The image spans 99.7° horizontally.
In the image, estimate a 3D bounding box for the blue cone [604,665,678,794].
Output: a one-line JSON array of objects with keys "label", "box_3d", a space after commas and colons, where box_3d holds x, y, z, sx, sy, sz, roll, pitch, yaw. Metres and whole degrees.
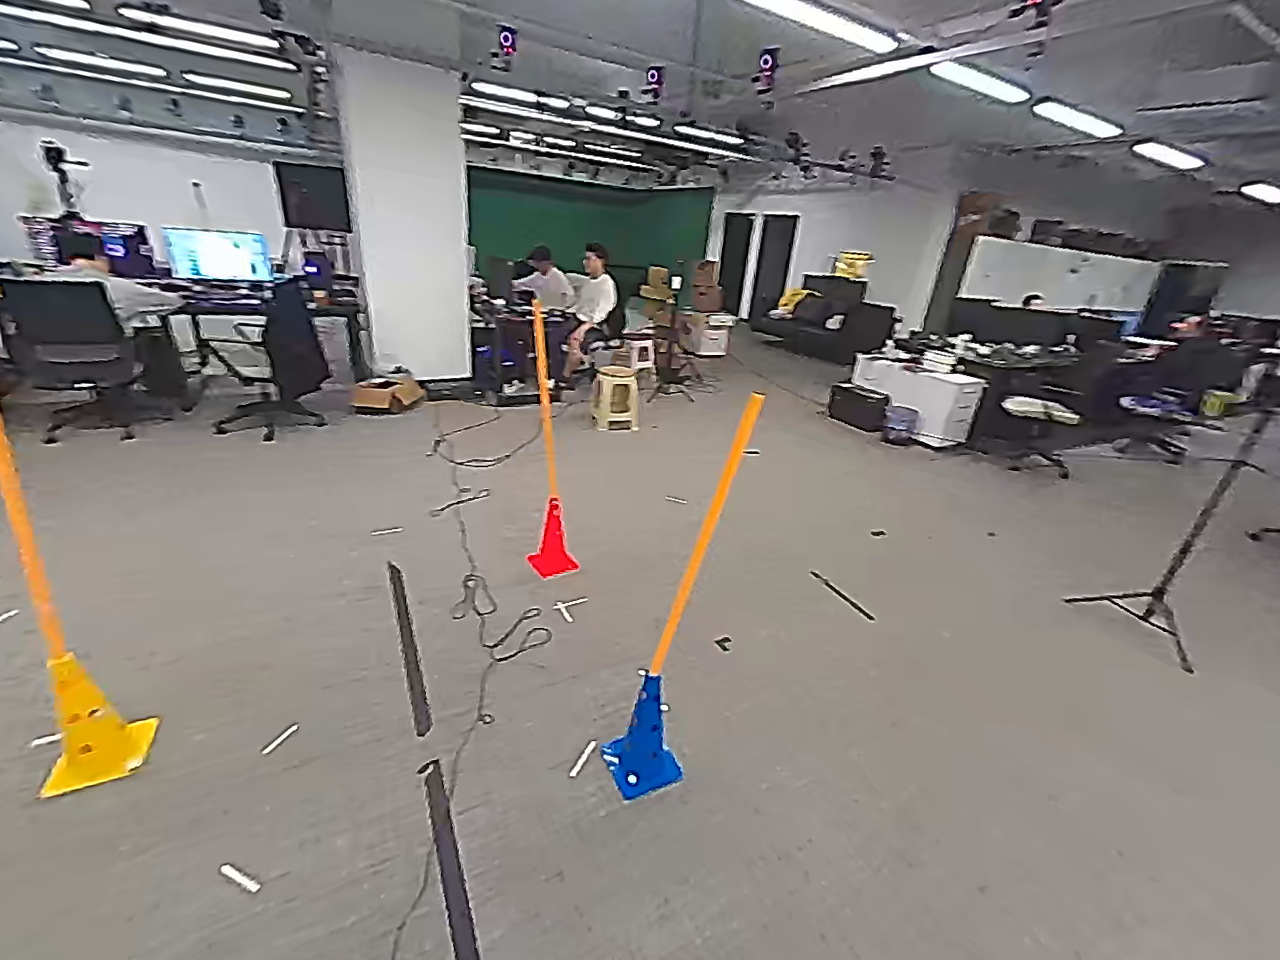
[{"label": "blue cone", "box_3d": [0.019, 0.705, 1.576, 0.193, 0.380, 0.192, -6, 26, -25]}]

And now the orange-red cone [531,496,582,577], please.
[{"label": "orange-red cone", "box_3d": [-0.386, 0.241, 2.502, 0.199, 0.360, 0.198, -12, 28, -31]}]
